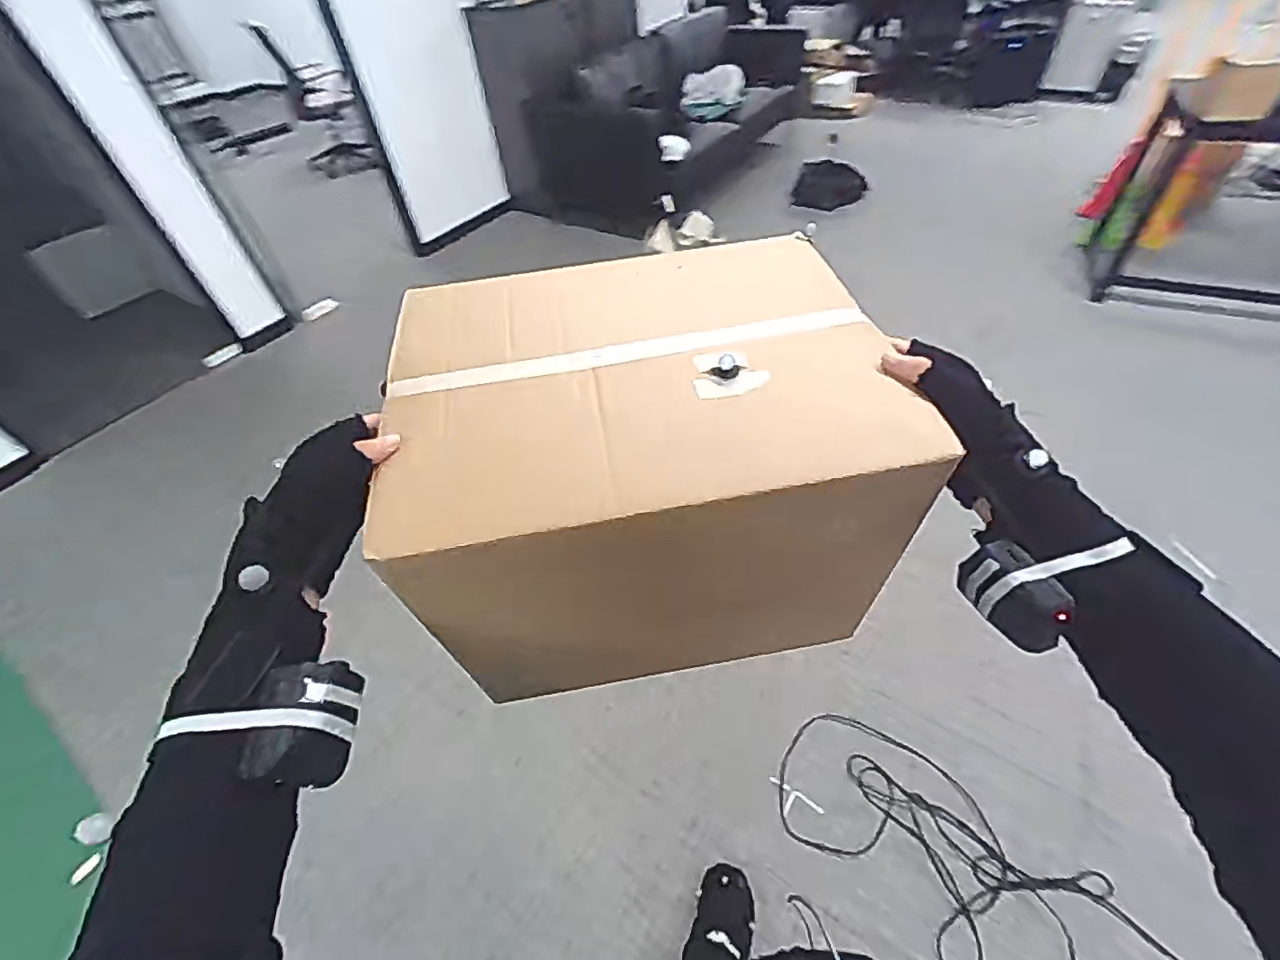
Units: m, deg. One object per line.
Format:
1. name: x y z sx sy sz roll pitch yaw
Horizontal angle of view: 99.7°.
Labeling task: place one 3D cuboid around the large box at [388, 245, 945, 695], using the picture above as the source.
1. large box: 0.007 -0.006 0.578 0.408 0.320 0.320 -9 52 -3
